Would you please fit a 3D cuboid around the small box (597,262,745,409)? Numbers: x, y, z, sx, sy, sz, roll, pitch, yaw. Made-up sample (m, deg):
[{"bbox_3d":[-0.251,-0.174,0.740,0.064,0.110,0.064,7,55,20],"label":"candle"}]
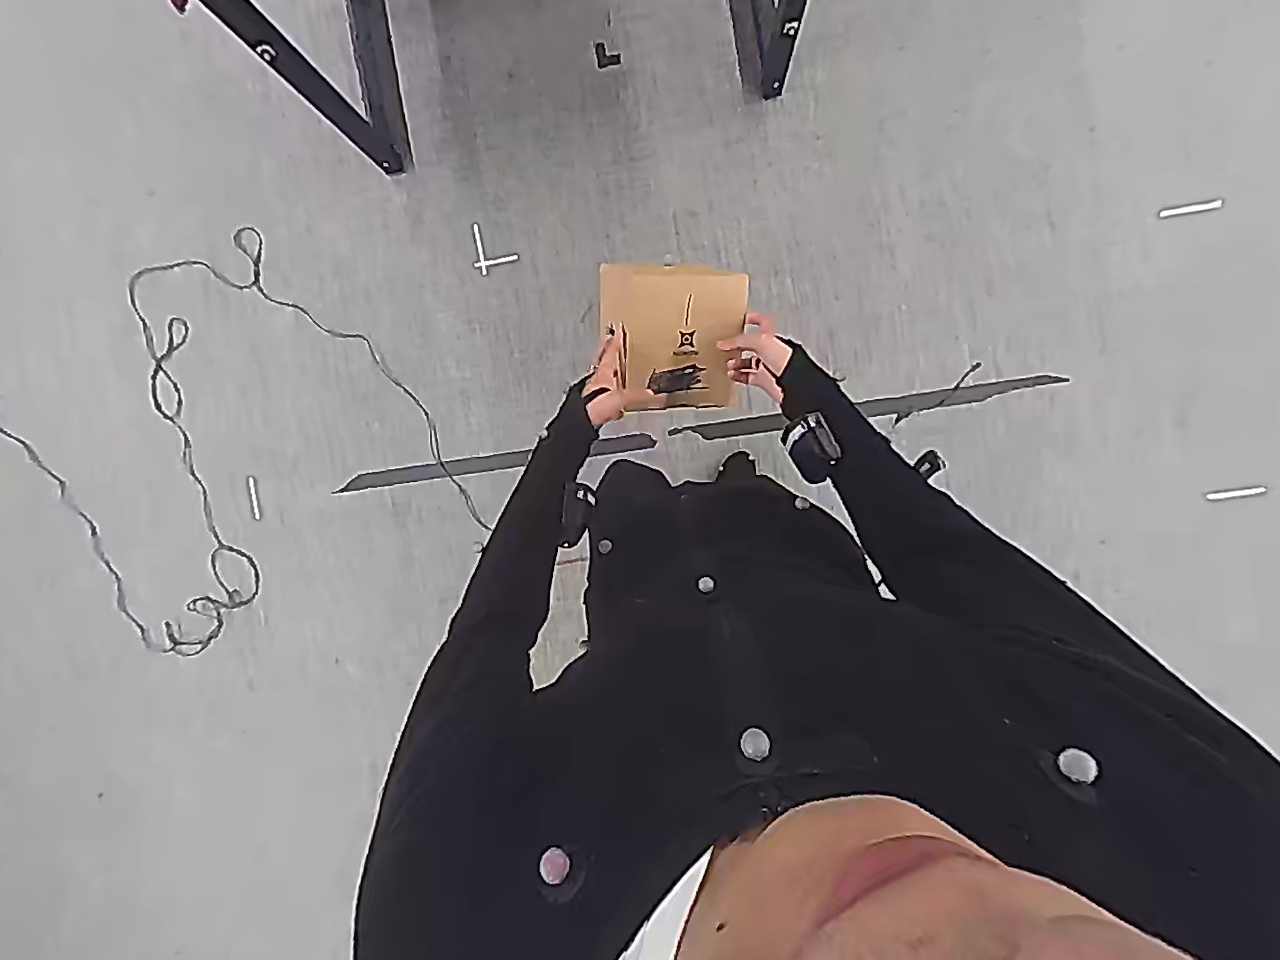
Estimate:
[{"bbox_3d":[0.035,-0.214,0.780,0.168,0.176,0.179,-6,116,-14],"label":"small box"}]
